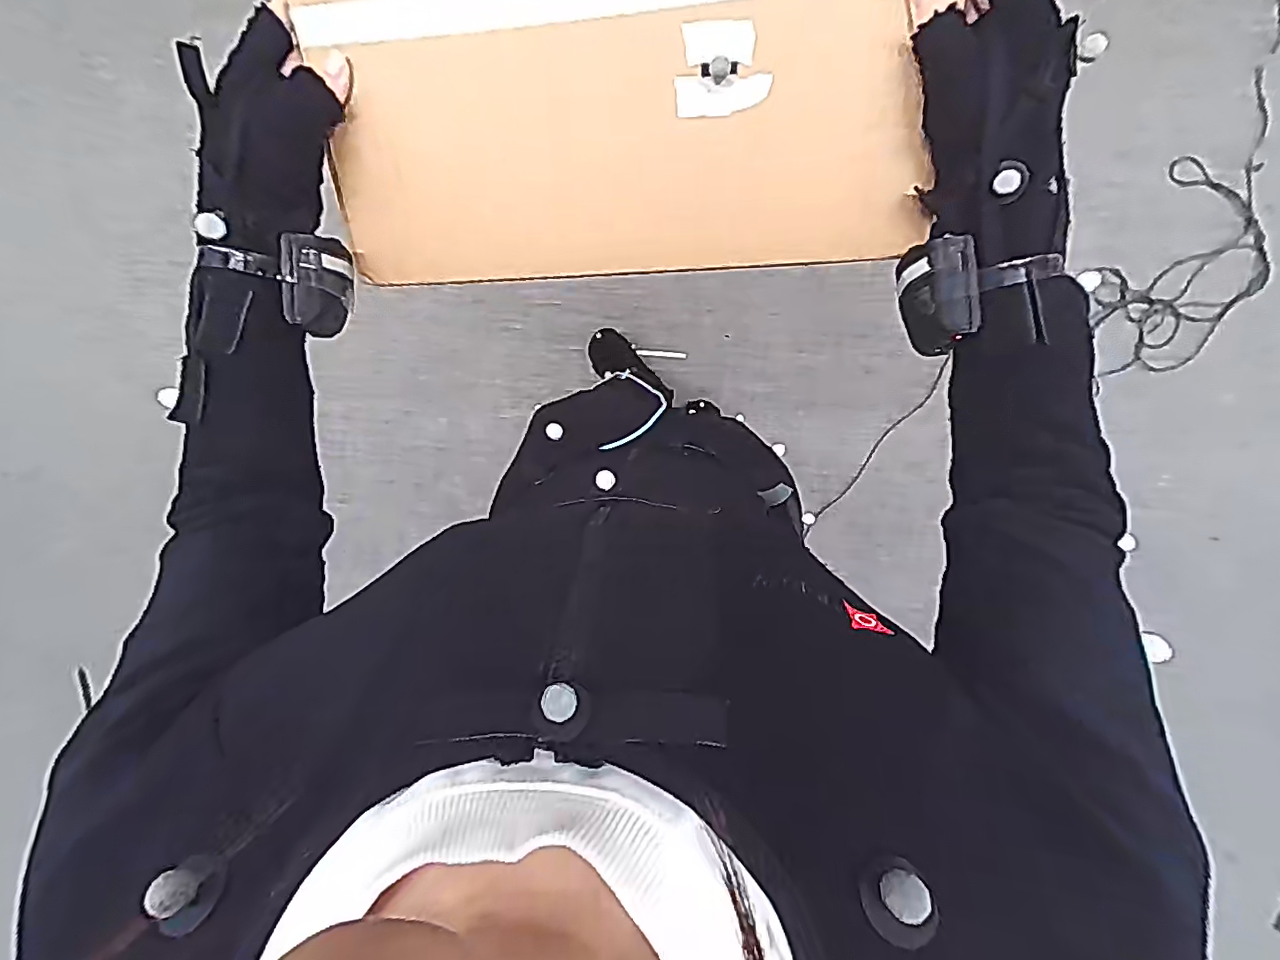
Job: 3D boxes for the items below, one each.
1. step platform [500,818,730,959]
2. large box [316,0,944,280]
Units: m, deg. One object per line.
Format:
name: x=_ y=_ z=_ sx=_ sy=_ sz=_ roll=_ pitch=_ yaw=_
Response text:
step platform: x=-0.075 y=1.257 z=1.637 sx=0.684 sy=0.204 sz=0.286 roll=4 pitch=102 yaw=8
large box: x=-0.003 y=-0.361 z=0.473 sx=0.408 sy=0.320 sz=0.320 roll=-1 pitch=114 yaw=7
